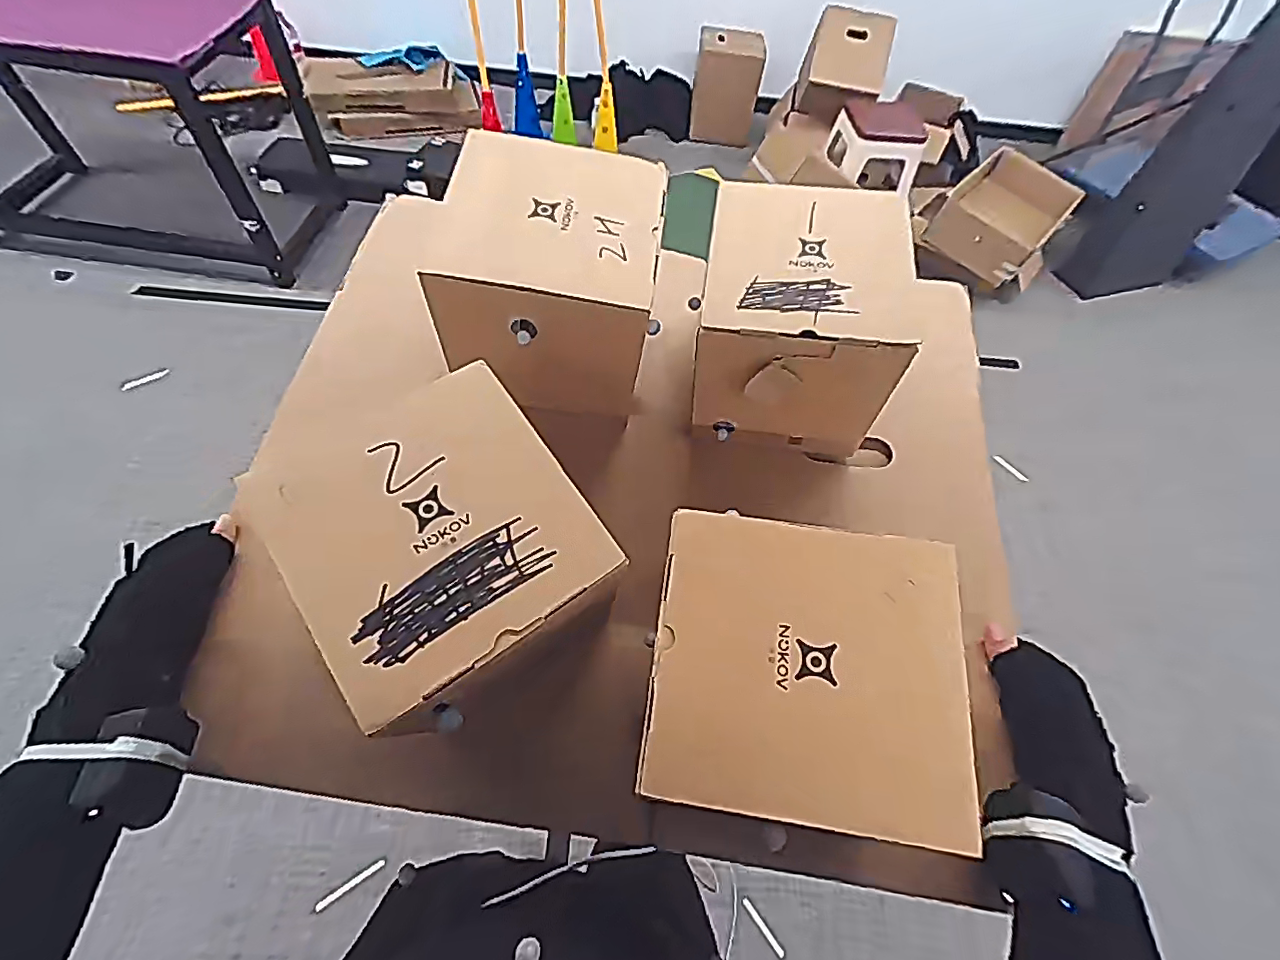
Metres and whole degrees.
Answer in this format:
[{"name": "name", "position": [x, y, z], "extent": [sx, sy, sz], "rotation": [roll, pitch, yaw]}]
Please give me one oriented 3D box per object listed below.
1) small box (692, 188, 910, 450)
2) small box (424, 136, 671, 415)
[{"name": "small box", "position": [0.142, -0.146, 0.521], "extent": [0.168, 0.176, 0.179], "rotation": [7, 64, 7]}, {"name": "small box", "position": [-0.077, -0.179, 0.513], "extent": [0.179, 0.176, 0.168], "rotation": [9, 66, -5]}]
